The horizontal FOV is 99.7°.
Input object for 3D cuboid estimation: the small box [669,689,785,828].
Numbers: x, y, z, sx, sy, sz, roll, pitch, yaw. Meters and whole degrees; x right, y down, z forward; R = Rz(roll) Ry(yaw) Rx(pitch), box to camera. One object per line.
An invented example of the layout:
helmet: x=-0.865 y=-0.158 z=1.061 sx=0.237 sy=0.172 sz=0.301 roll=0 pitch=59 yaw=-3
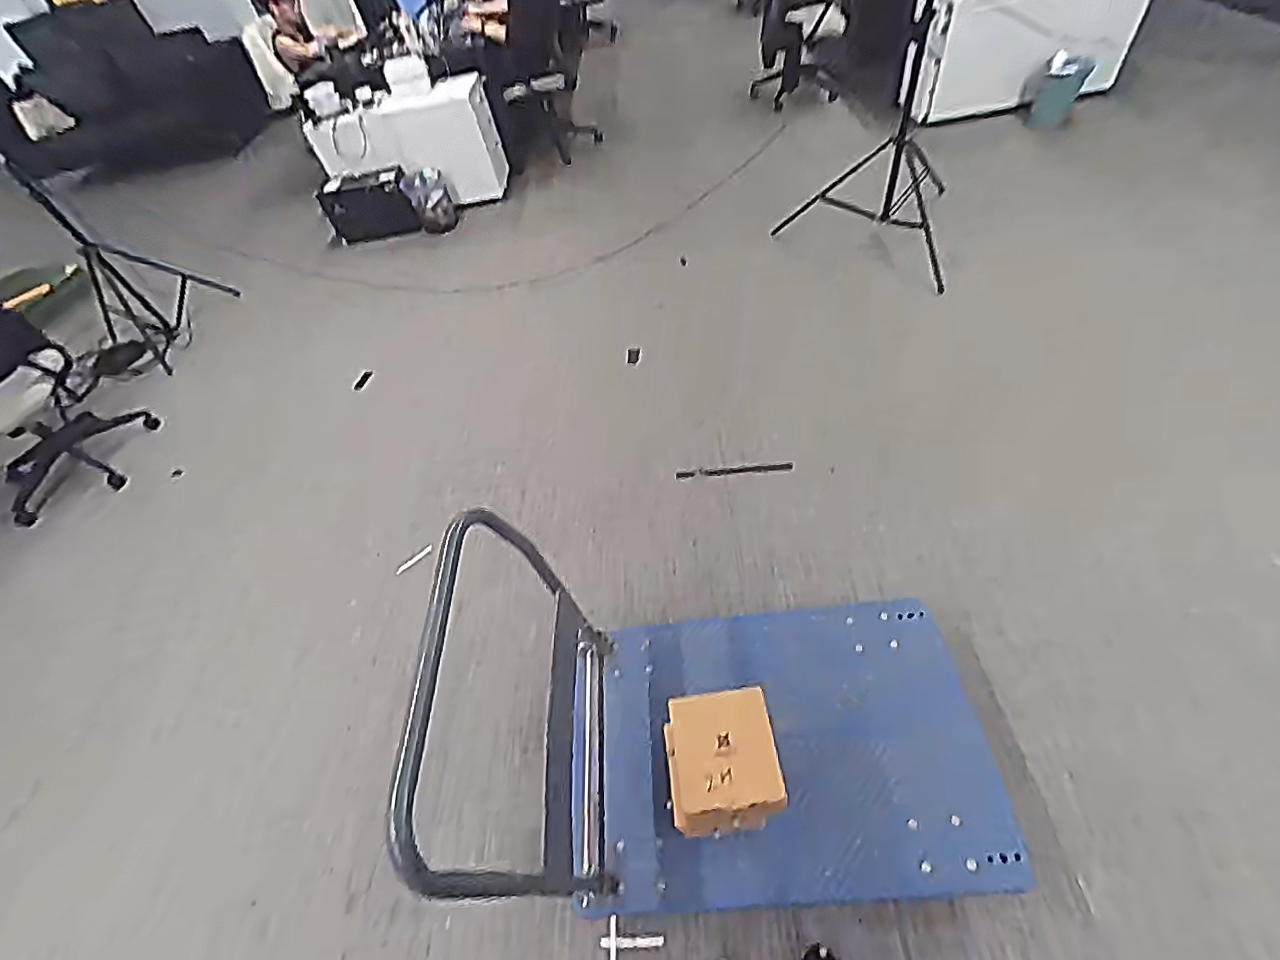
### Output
small box: x=0.148 y=0.490 z=0.947 sx=0.168 sy=0.176 sz=0.179 roll=-10 pitch=51 yaw=4

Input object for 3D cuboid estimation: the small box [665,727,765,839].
small box: x=0.147 y=0.595 z=1.076 sx=0.168 sy=0.176 sz=0.179 roll=-10 pitch=51 yaw=3
